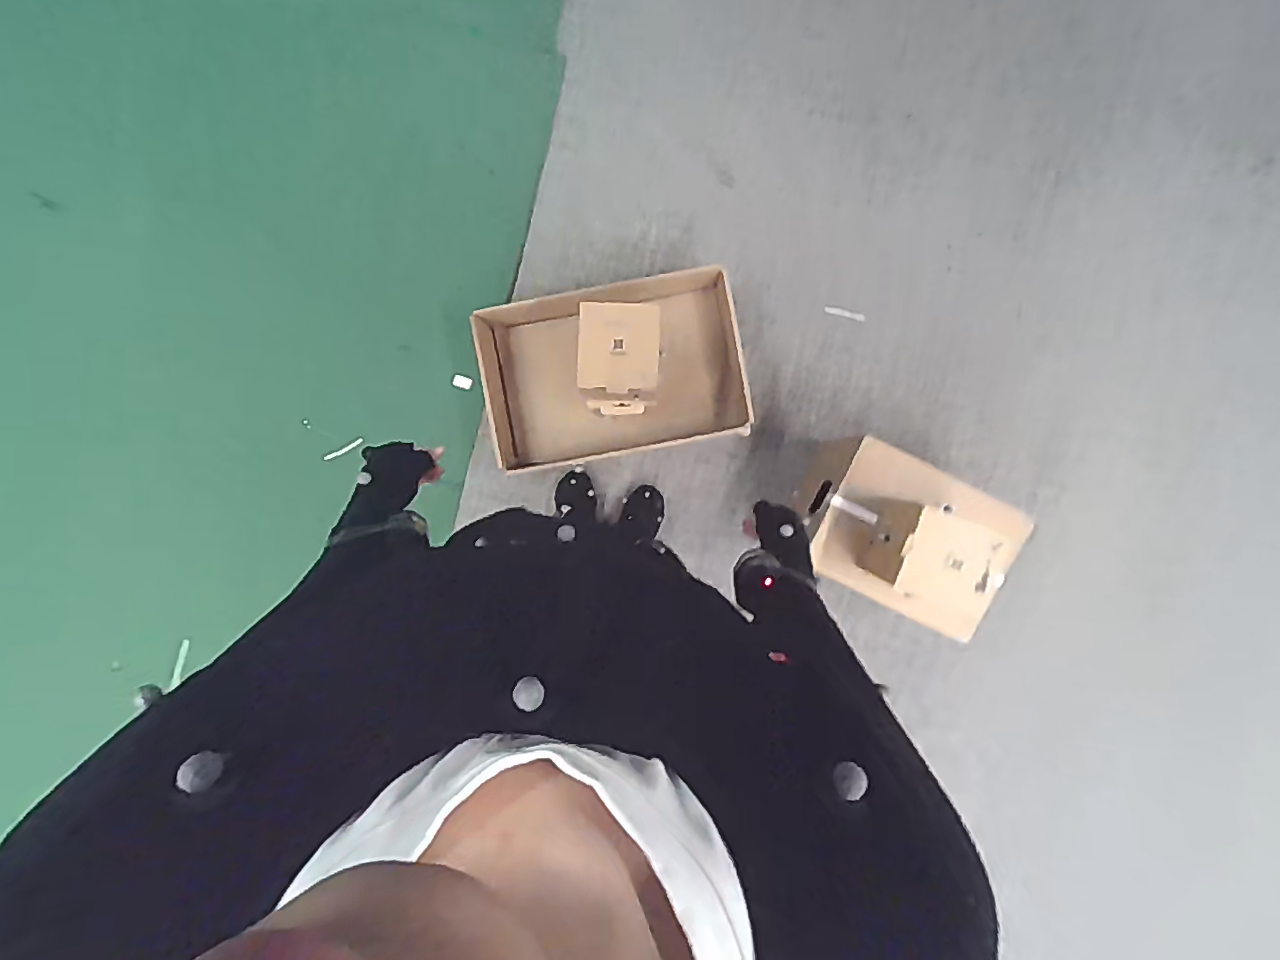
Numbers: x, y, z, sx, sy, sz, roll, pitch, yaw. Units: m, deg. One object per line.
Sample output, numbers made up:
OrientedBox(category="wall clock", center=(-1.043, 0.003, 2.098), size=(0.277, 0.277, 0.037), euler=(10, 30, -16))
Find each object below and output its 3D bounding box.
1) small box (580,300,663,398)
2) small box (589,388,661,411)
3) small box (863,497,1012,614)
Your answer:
OrientedBox(category="small box", center=(-0.035, -0.274, 1.171), size=(0.168, 0.176, 0.179), euler=(2, 89, 1))
OrientedBox(category="small box", center=(-0.034, -0.264, 1.332), size=(0.168, 0.176, 0.179), euler=(-2, 90, 3))
OrientedBox(category="small box", center=(0.573, 0.139, 1.070), size=(0.179, 0.176, 0.168), euler=(21, 93, 1))
